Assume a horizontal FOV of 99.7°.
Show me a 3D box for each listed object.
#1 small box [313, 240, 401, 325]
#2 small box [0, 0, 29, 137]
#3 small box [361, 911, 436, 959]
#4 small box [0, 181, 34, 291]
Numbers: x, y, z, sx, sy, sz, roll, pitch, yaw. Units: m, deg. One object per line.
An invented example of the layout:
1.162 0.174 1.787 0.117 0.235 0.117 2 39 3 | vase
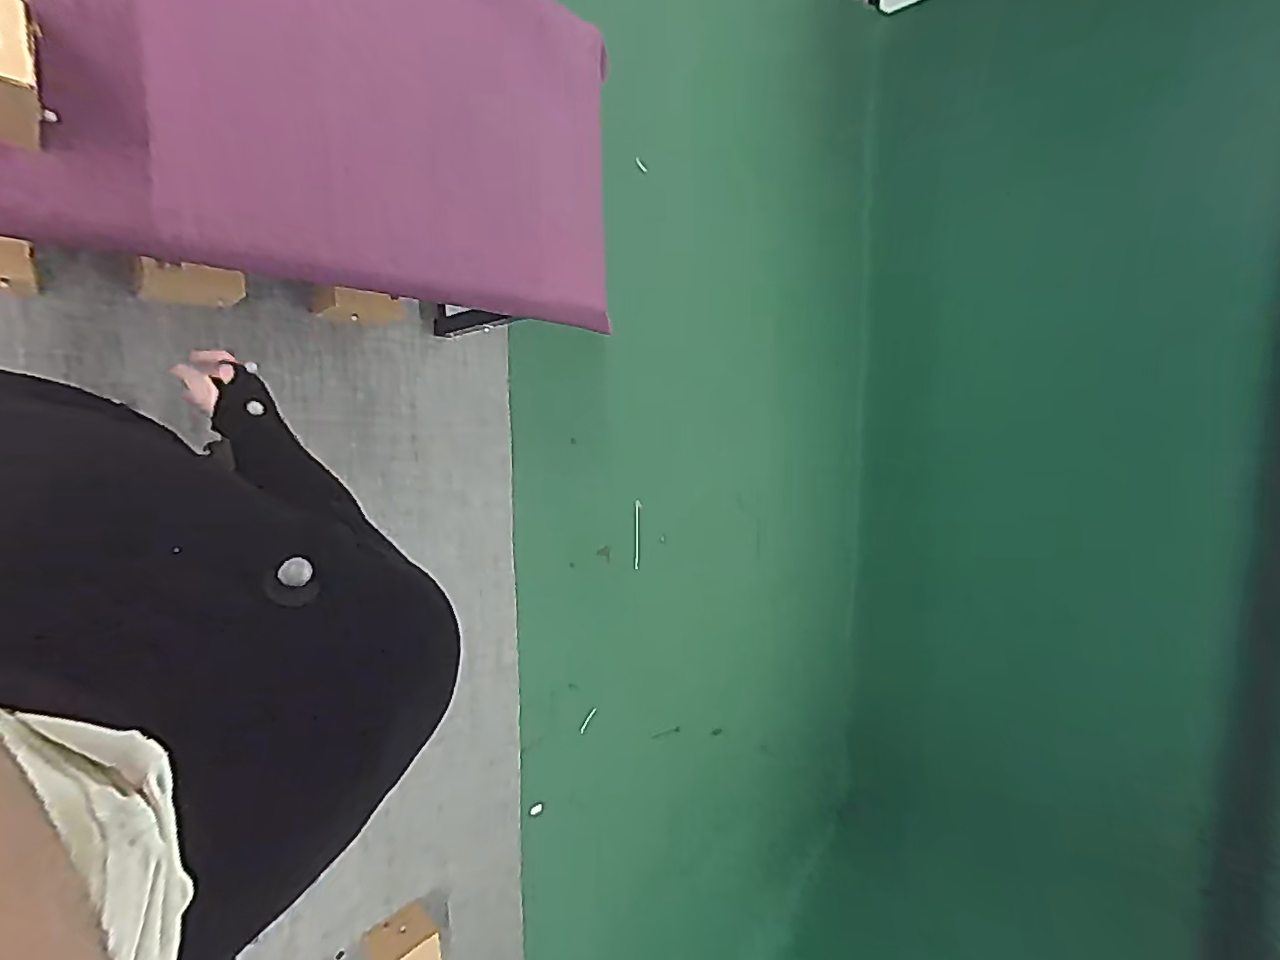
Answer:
-0.765 -0.521 1.456 0.179 0.176 0.168 -3 96 -46 | small box
-0.686 -0.446 0.486 0.179 0.176 0.168 -4 95 -45 | small box
-0.747 1.489 1.671 0.168 0.176 0.179 -7 99 -45 | small box
-1.233 -0.447 0.971 0.179 0.176 0.168 -8 99 -46 | small box
